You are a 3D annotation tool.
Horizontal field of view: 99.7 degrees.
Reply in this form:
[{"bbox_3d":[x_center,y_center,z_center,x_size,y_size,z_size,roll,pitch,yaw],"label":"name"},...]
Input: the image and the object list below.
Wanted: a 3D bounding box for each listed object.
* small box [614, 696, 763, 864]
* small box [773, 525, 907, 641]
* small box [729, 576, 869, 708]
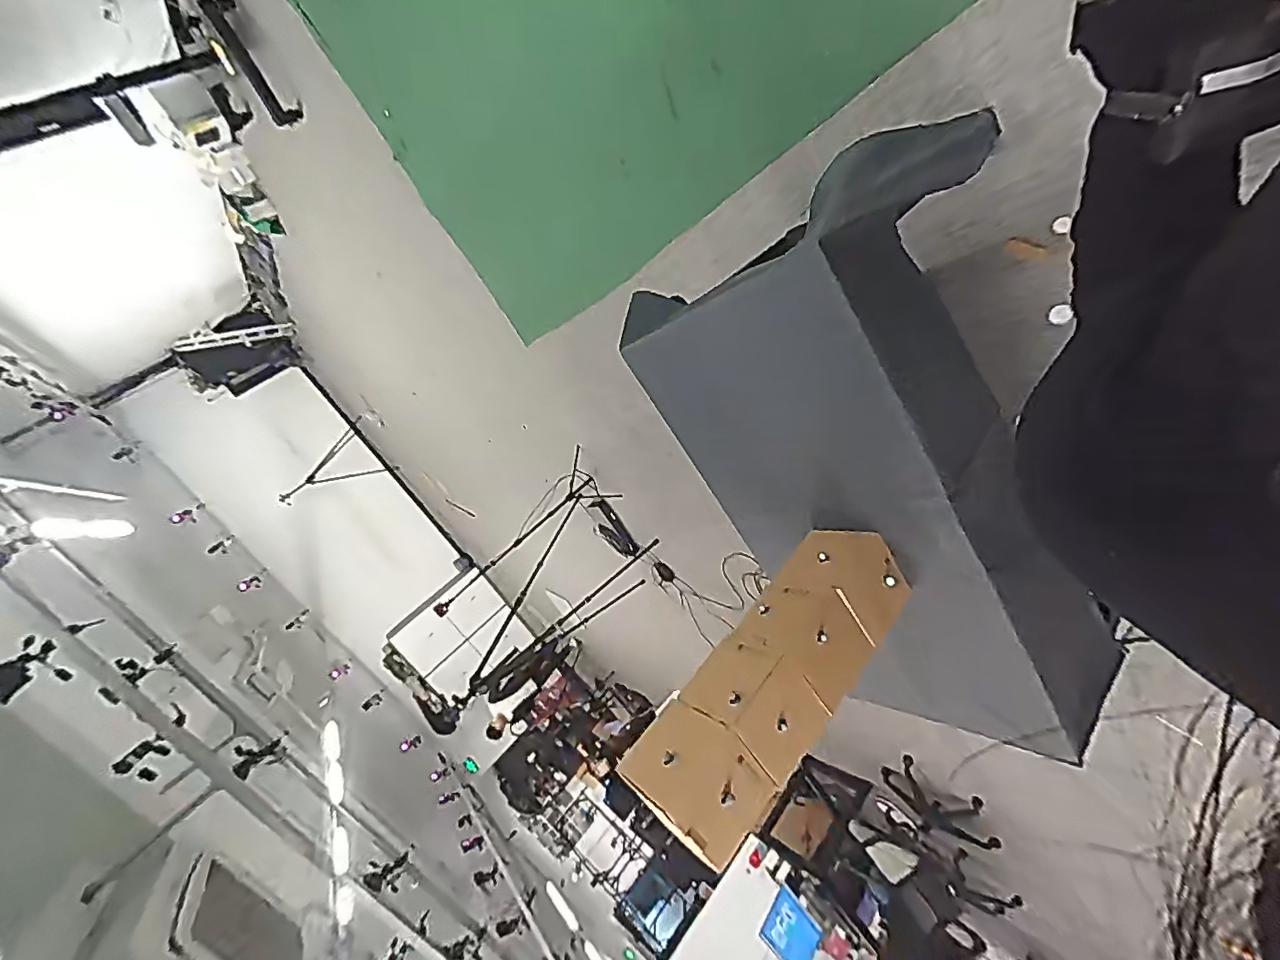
[{"bbox_3d":[0.093,0.514,0.958,0.168,0.176,0.179,55,153,-15],"label":"small box"},{"bbox_3d":[0.426,0.210,1.150,0.168,0.176,0.179,55,152,-17],"label":"small box"},{"bbox_3d":[0.319,0.312,1.082,0.179,0.176,0.168,54,154,-15],"label":"small box"}]
